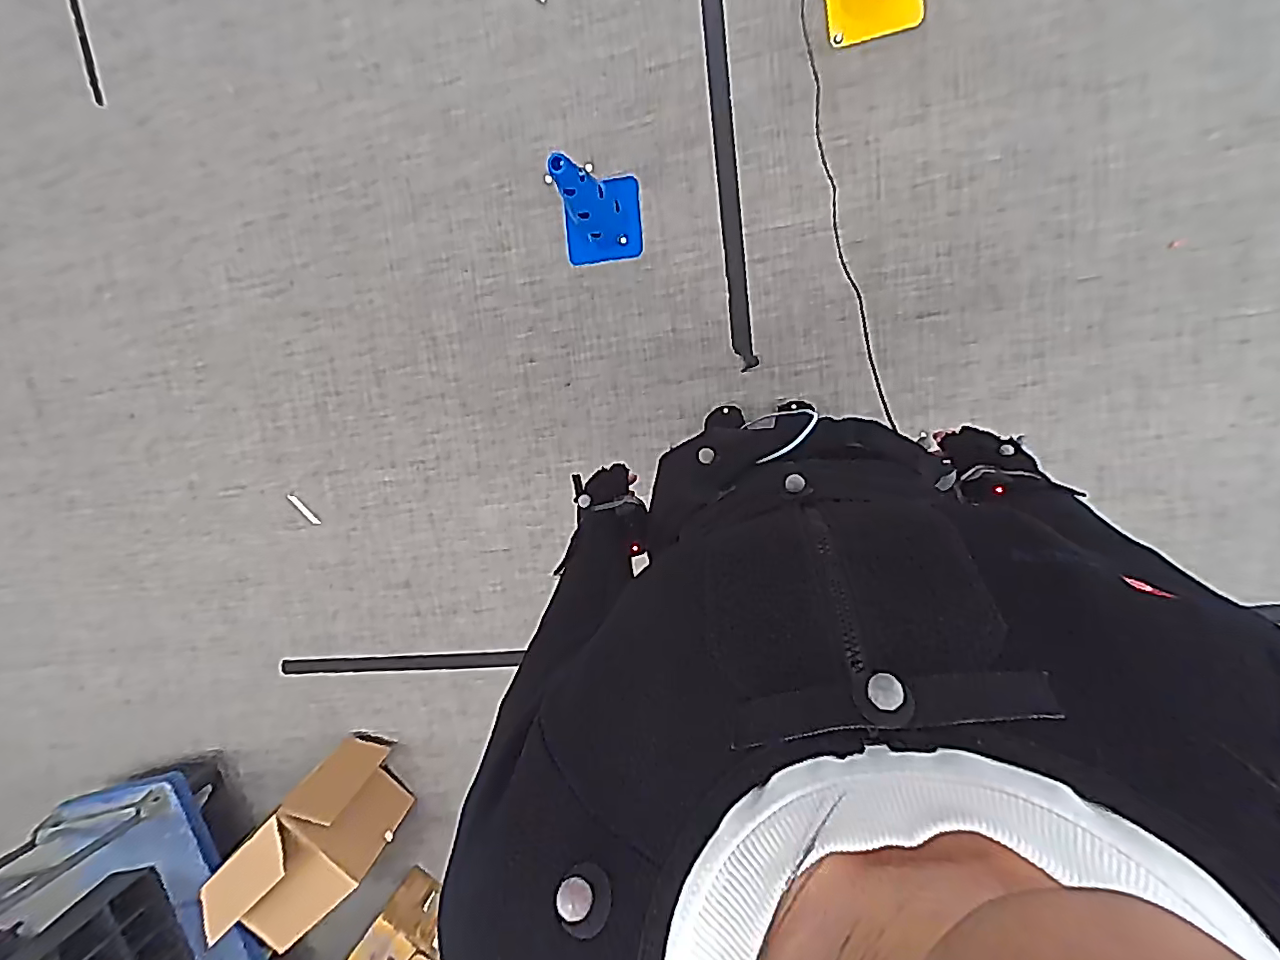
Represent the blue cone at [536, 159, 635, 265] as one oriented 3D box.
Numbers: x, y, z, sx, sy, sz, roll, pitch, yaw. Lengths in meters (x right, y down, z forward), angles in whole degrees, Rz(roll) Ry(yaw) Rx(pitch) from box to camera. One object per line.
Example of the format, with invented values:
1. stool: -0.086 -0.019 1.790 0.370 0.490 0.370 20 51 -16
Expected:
1. blue cone: -0.141 -0.642 1.243 0.192 0.380 0.193 -1 98 12
